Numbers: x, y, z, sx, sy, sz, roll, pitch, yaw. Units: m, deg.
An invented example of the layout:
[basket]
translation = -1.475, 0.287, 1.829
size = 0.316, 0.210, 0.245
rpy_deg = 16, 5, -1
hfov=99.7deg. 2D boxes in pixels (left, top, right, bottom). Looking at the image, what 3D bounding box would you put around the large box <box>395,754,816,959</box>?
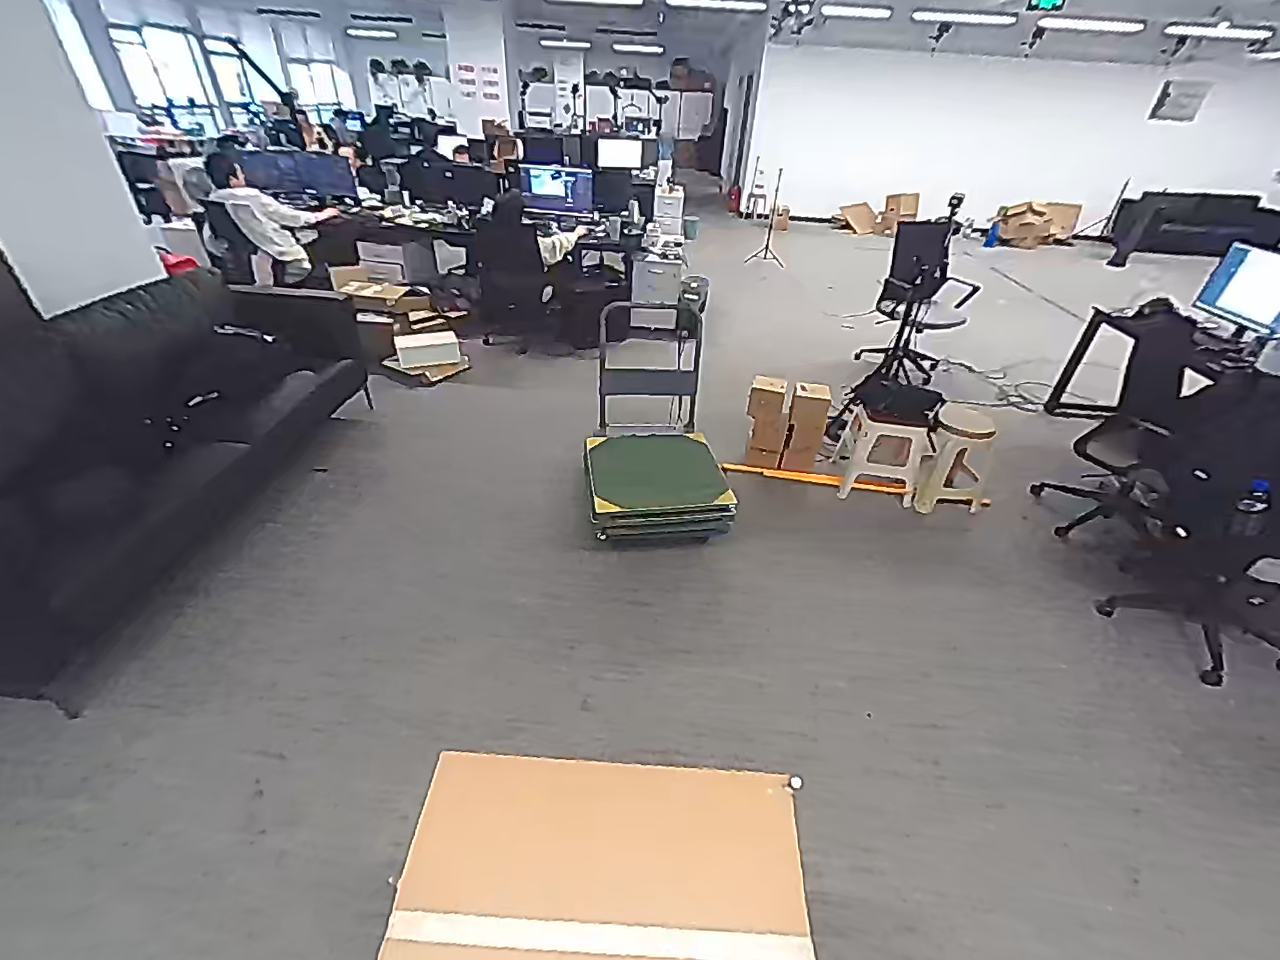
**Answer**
[large box]
translation = -0.037, 0.543, 0.626
size = 0.408, 0.320, 0.320
rpy_deg = 3, 45, 0
